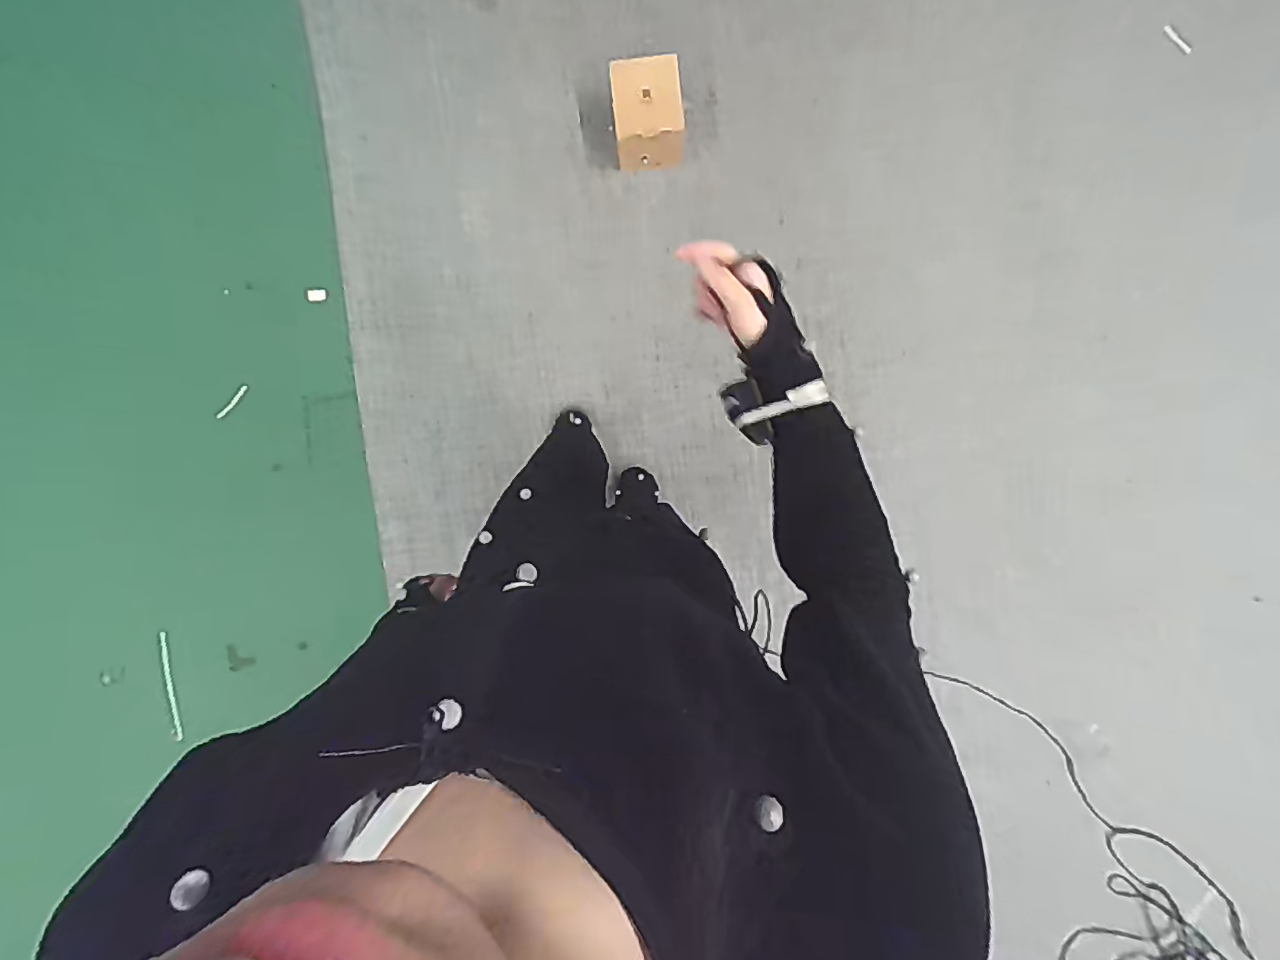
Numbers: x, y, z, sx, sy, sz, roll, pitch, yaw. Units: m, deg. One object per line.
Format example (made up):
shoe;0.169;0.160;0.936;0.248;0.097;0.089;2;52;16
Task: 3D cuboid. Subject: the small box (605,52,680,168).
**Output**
small box;0.003;-0.923;1.361;0.168;0.176;0.179;-7;95;-1
